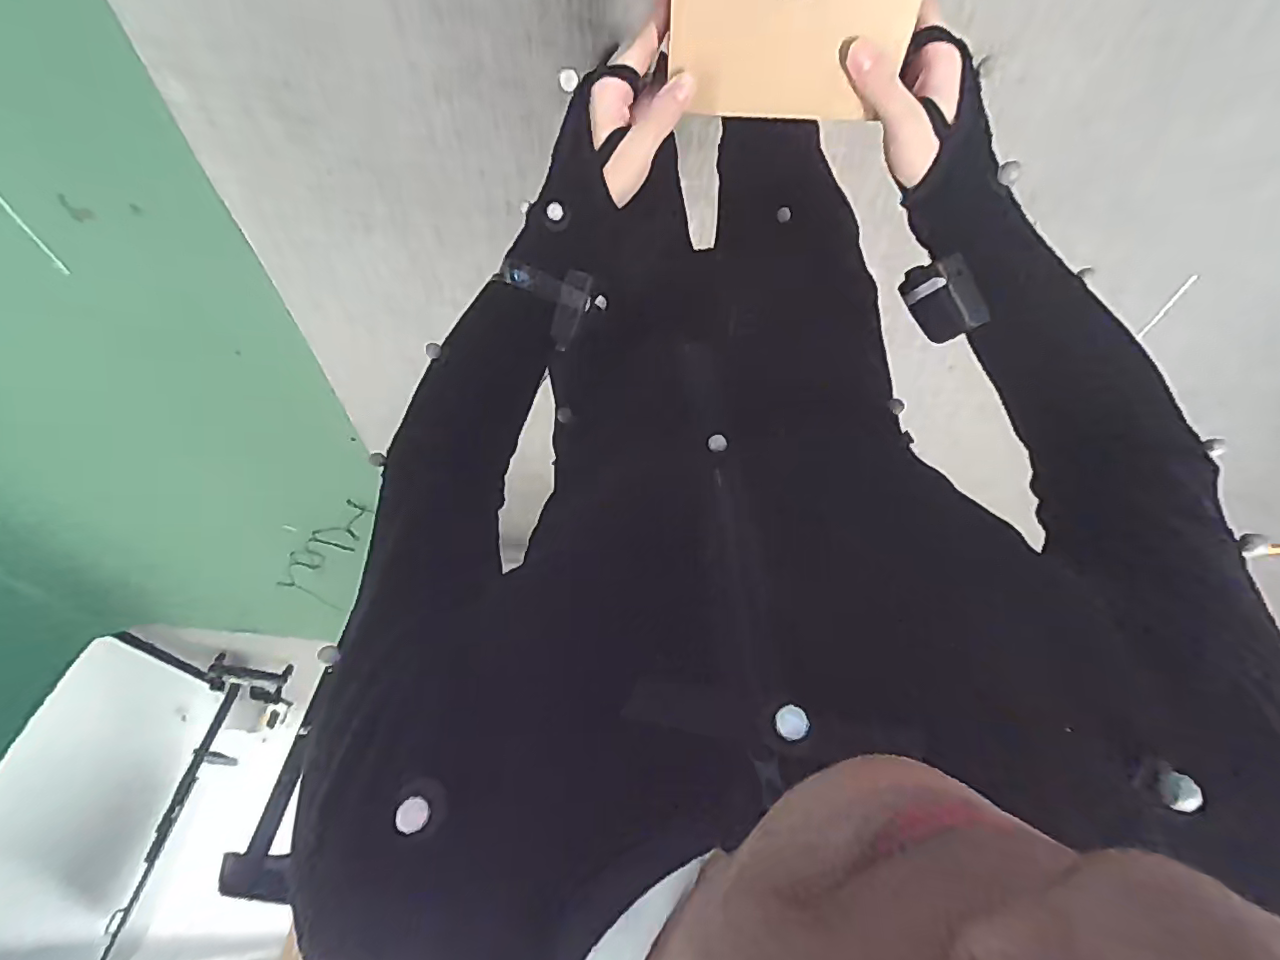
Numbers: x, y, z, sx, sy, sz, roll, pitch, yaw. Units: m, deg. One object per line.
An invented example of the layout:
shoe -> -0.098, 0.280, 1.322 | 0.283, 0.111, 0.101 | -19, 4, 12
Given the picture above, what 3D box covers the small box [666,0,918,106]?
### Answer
small box -> 0.107, -0.399, 0.383 | 0.168, 0.176, 0.179 | 2, 144, 2
